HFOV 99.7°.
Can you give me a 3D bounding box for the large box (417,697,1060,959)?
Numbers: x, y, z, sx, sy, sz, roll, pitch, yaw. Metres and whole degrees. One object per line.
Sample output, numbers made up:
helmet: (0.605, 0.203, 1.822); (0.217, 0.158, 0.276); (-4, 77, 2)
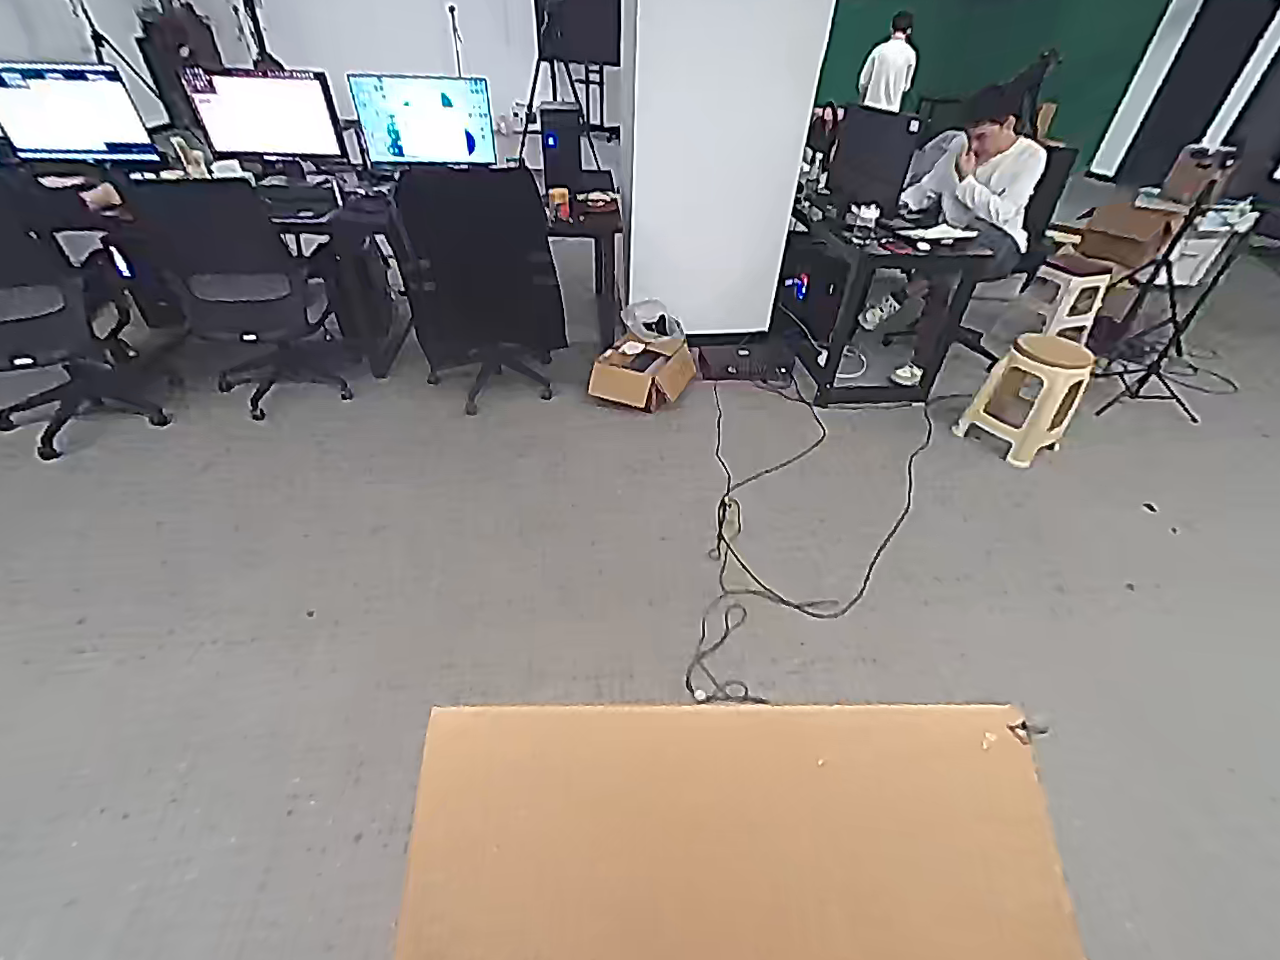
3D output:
large box: (0.058, 0.364, 0.464); (0.408, 0.320, 0.320); (-1, 68, -1)
